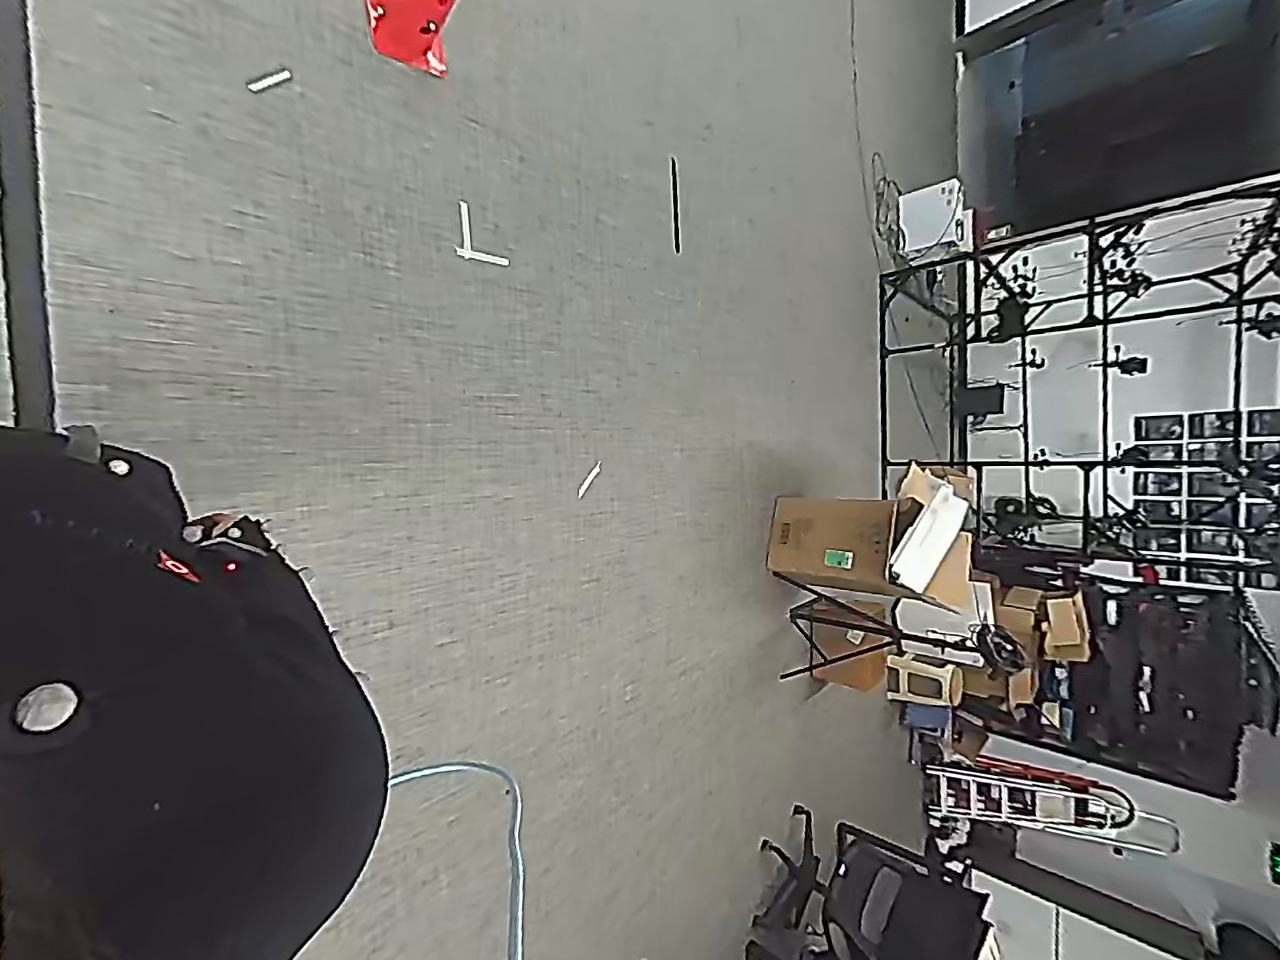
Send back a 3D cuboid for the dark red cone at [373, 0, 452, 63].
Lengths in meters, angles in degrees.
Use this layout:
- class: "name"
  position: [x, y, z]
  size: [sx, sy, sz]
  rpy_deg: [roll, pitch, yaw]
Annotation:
- class: "dark red cone"
  position: [-0.469, -1.199, 1.274]
  size: [0.201, 0.394, 0.202]
  rpy_deg: [-16, 102, -45]
